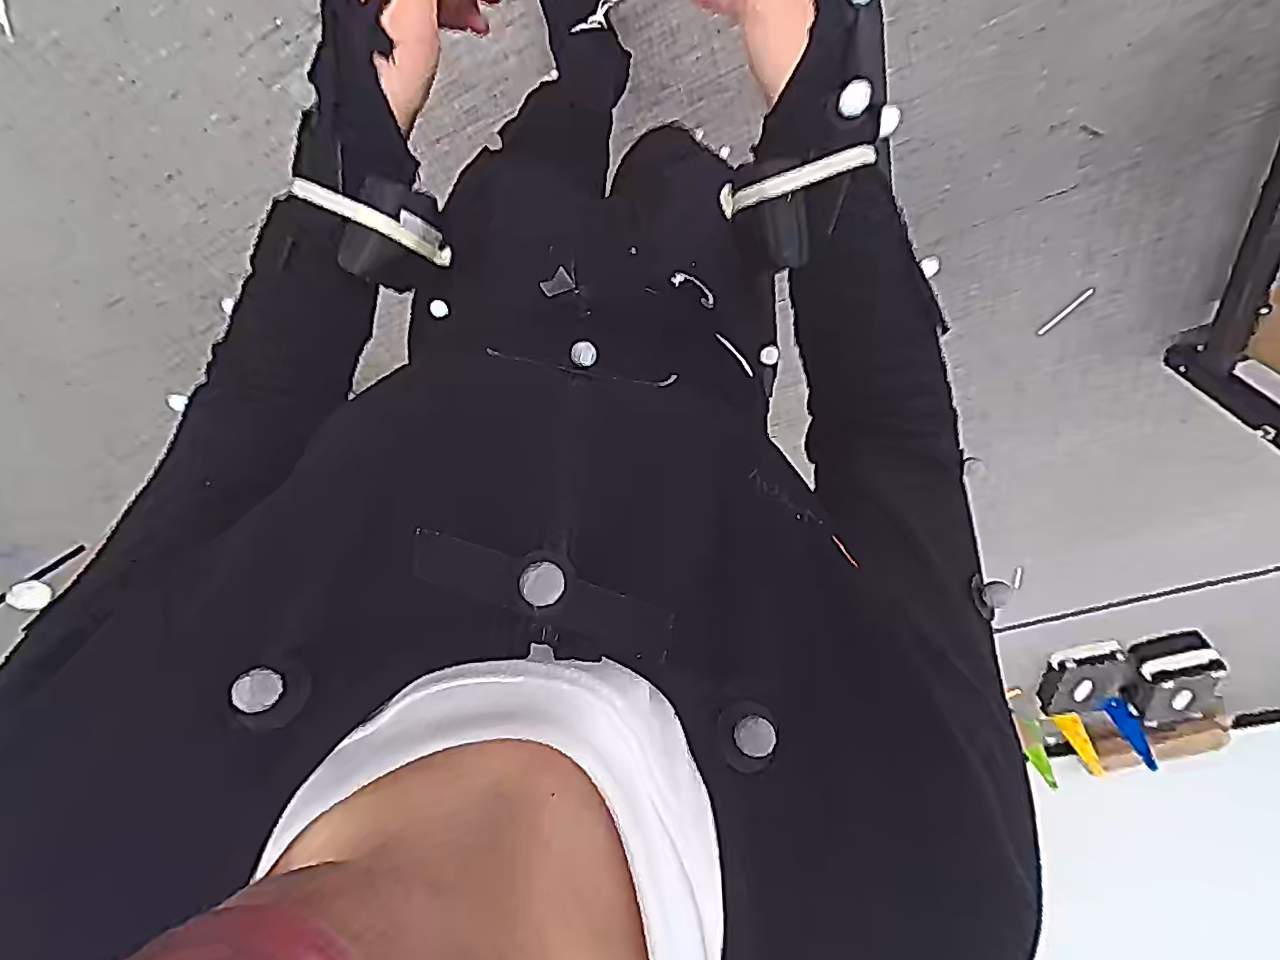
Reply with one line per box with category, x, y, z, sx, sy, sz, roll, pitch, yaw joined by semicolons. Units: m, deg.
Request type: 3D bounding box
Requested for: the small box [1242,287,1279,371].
small box;1.499;-0.337;1.179;0.179;0.176;0.168;-18;132;13
